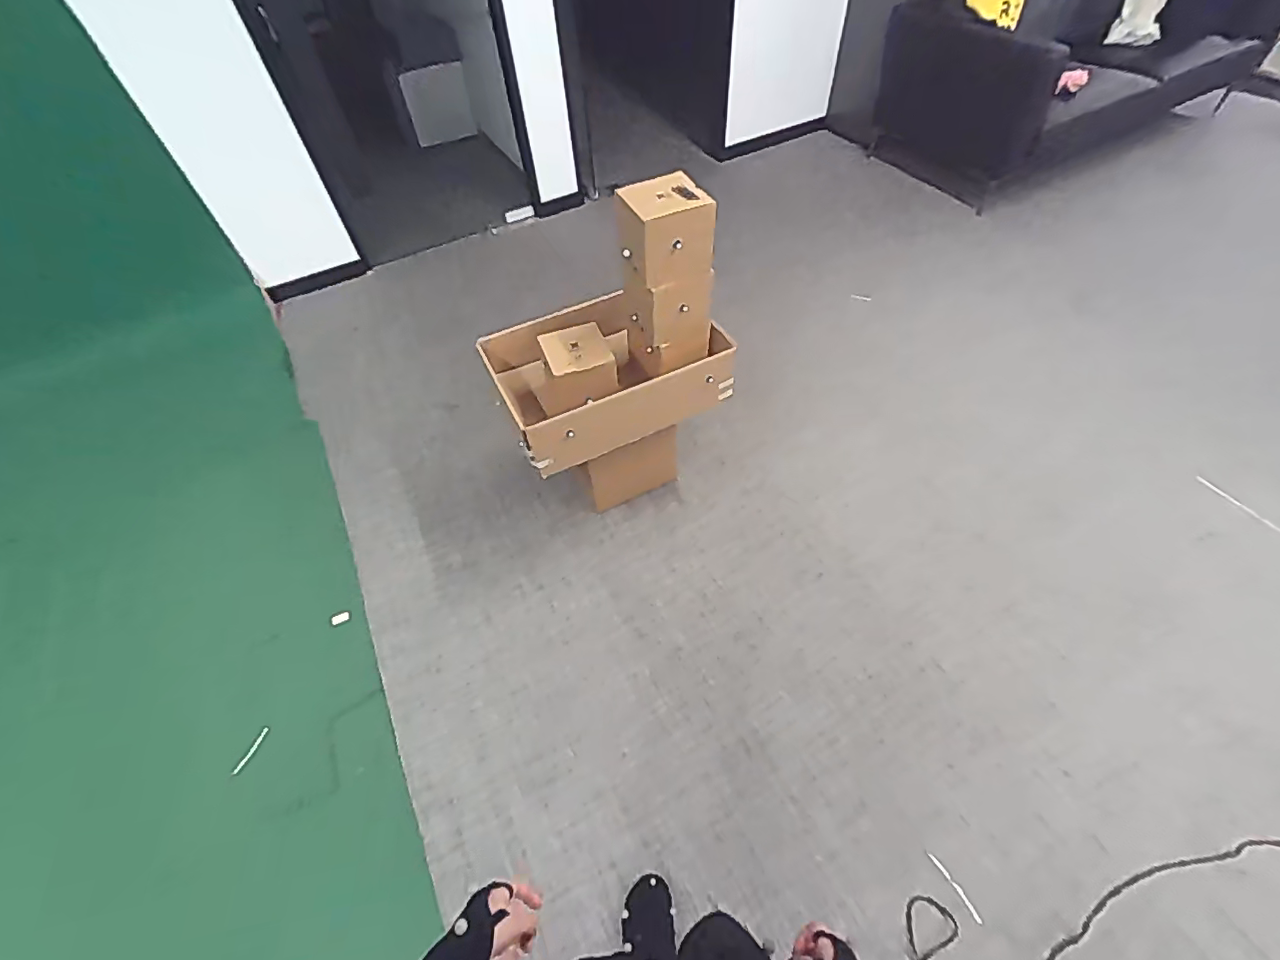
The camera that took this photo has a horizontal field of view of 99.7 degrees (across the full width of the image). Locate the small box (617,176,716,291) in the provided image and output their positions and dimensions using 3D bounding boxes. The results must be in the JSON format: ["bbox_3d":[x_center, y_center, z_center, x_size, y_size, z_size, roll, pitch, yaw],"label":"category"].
[{"bbox_3d":[0.059,-0.575,1.270,0.179,0.176,0.168,-21,55,-12],"label":"small box"}]
